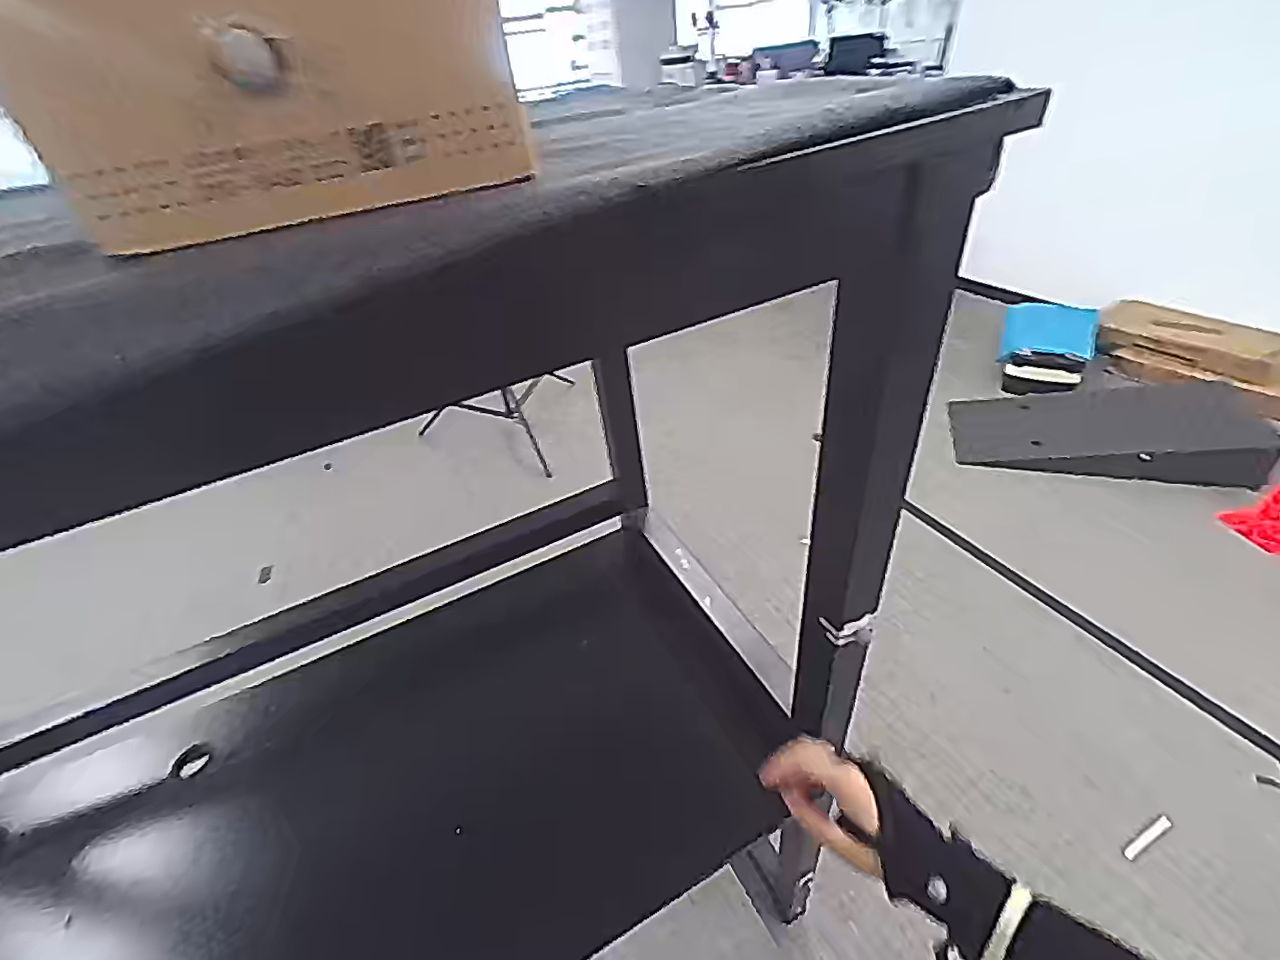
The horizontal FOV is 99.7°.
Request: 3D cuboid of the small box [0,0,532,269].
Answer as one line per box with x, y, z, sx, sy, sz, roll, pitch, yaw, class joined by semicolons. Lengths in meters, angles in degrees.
-0.158;-0.206;0.234;0.168;0.176;0.179;-19;39;-13;small box
